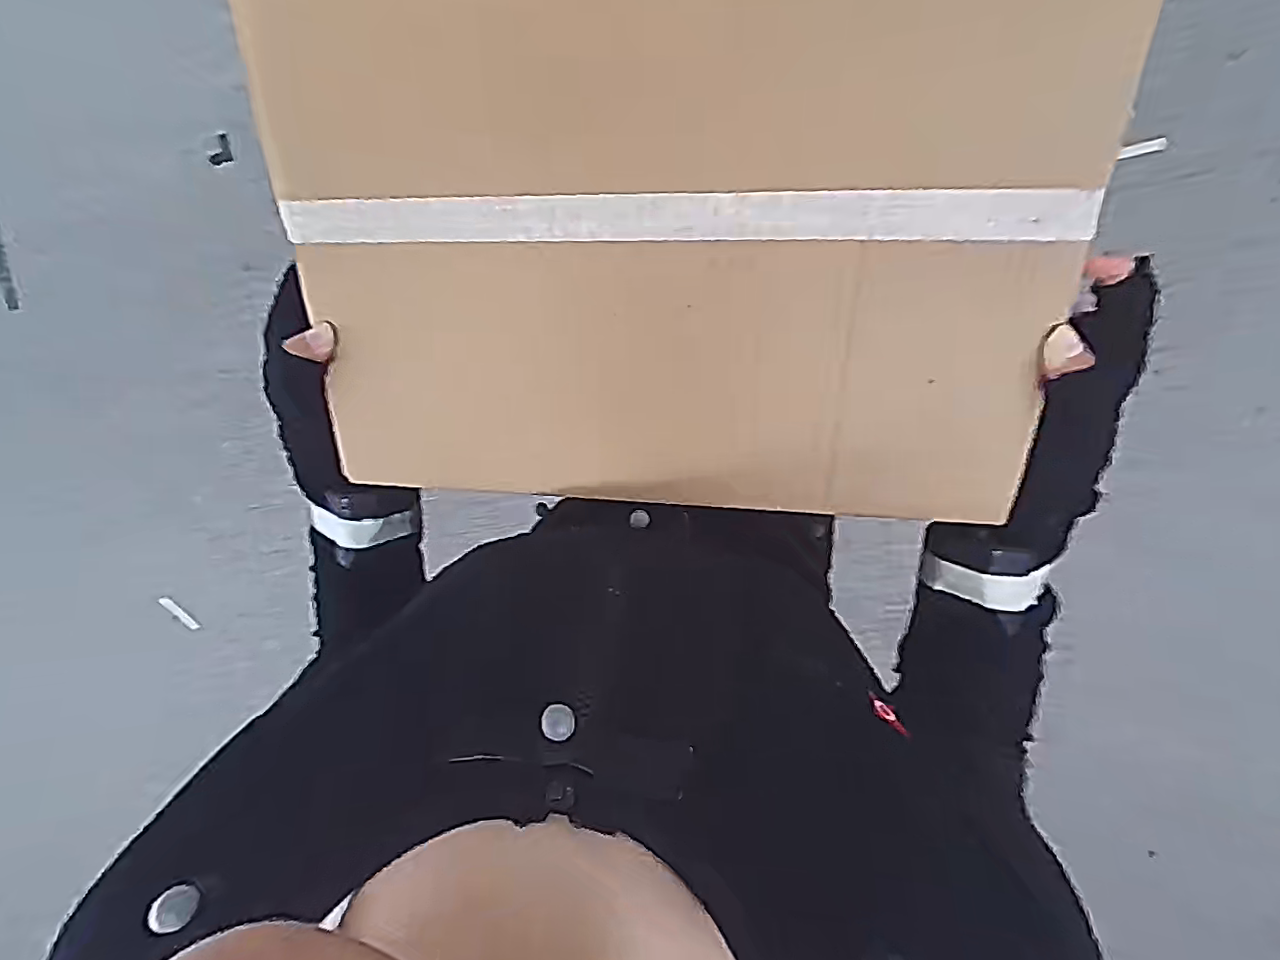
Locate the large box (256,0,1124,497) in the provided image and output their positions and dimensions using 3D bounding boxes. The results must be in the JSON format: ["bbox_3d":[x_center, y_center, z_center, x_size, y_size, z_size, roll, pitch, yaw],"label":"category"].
[{"bbox_3d":[0.025,-0.194,0.417,0.408,0.320,0.320,3,114,8],"label":"large box"}]
